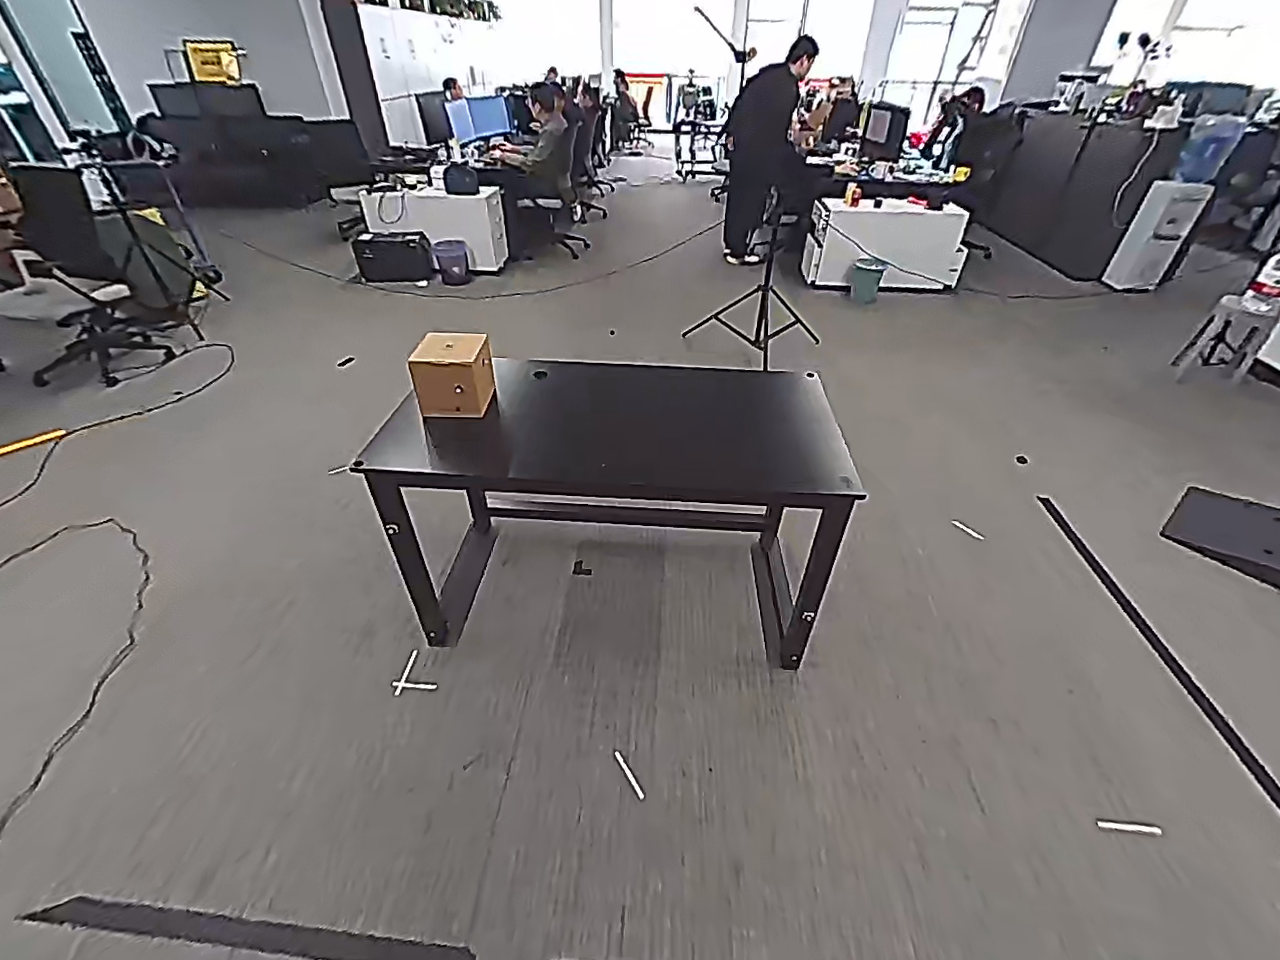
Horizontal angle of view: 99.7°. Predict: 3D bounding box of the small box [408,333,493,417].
[{"bbox_3d":[-0.503,-0.284,1.467,0.168,0.176,0.179,2,38,-2],"label":"small box"}]
